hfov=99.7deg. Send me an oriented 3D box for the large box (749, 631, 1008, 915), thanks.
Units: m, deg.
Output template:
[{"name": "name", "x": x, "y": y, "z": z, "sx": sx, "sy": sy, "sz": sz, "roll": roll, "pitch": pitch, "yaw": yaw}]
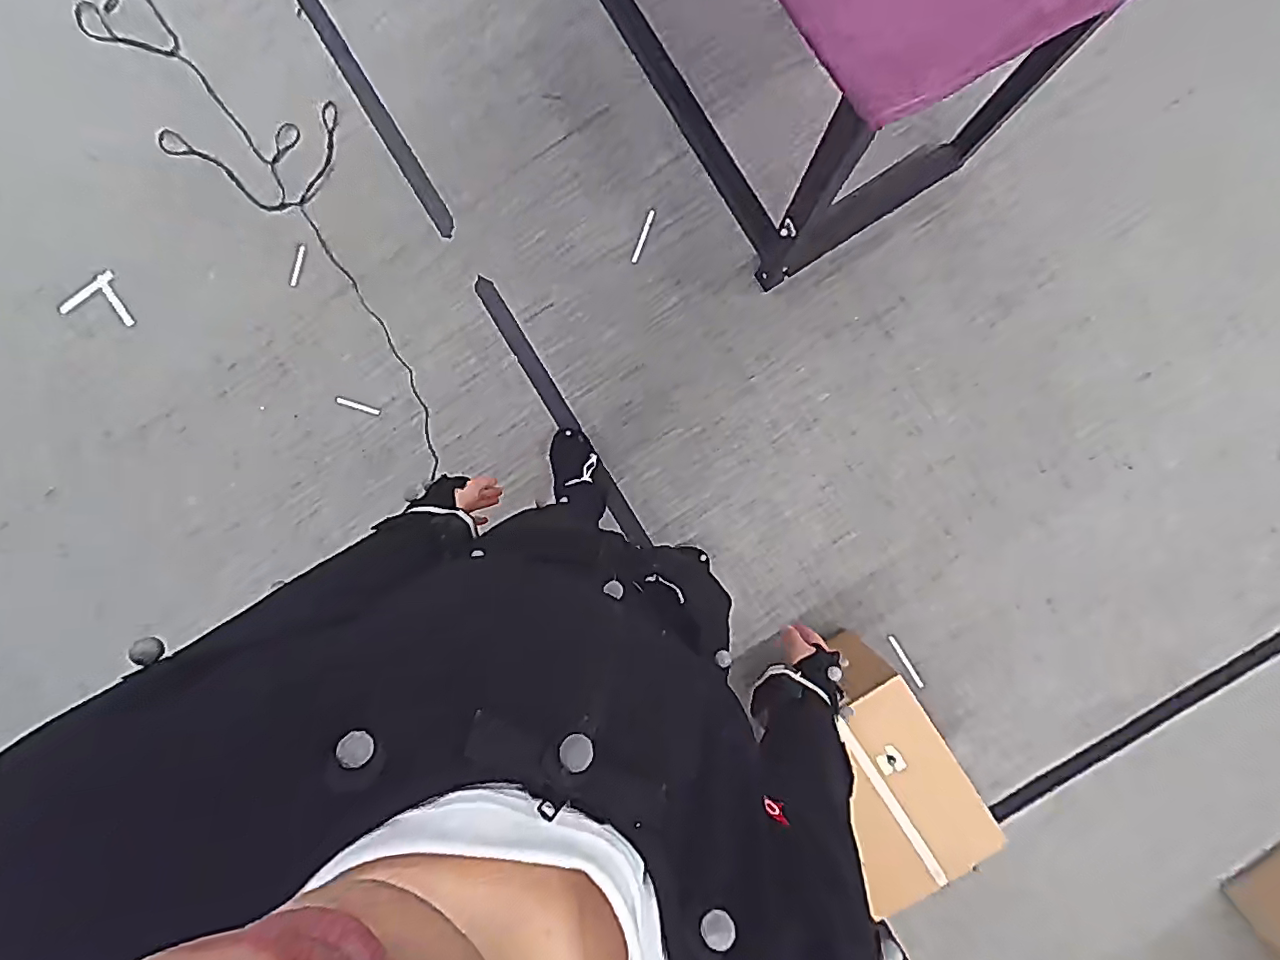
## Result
[{"name": "large box", "x": 0.499, "y": 0.625, "z": 1.222, "sx": 0.320, "sy": 0.320, "sz": 0.408, "roll": -33, "pitch": 89, "yaw": 2}]
